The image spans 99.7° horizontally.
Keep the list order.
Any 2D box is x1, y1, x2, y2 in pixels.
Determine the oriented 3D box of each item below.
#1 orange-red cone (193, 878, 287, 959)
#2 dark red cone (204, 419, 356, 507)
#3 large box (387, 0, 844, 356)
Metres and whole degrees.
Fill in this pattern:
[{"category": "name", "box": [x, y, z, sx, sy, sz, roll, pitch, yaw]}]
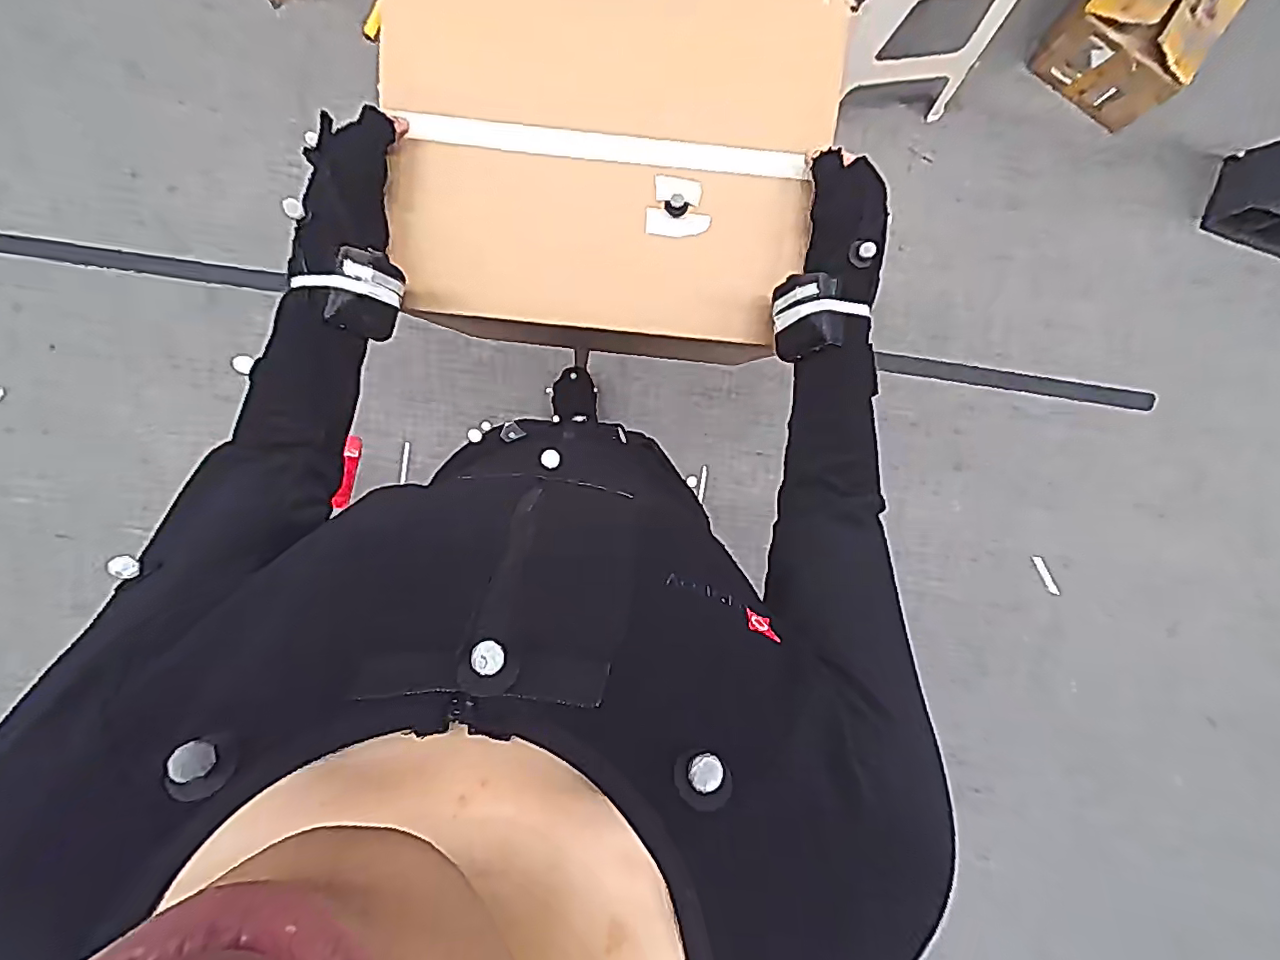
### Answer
[{"category": "orange-red cone", "box": [-1.094, 1.238, 1.353, 0.198, 0.360, 0.199, 6, 96, -1]}, {"category": "dark red cone", "box": [-0.838, -0.032, 1.238, 0.201, 0.394, 0.202, 14, 94, -4]}, {"category": "large box", "box": [-0.034, -0.329, 0.638, 0.408, 0.320, 0.320, 5, 99, -3]}]
